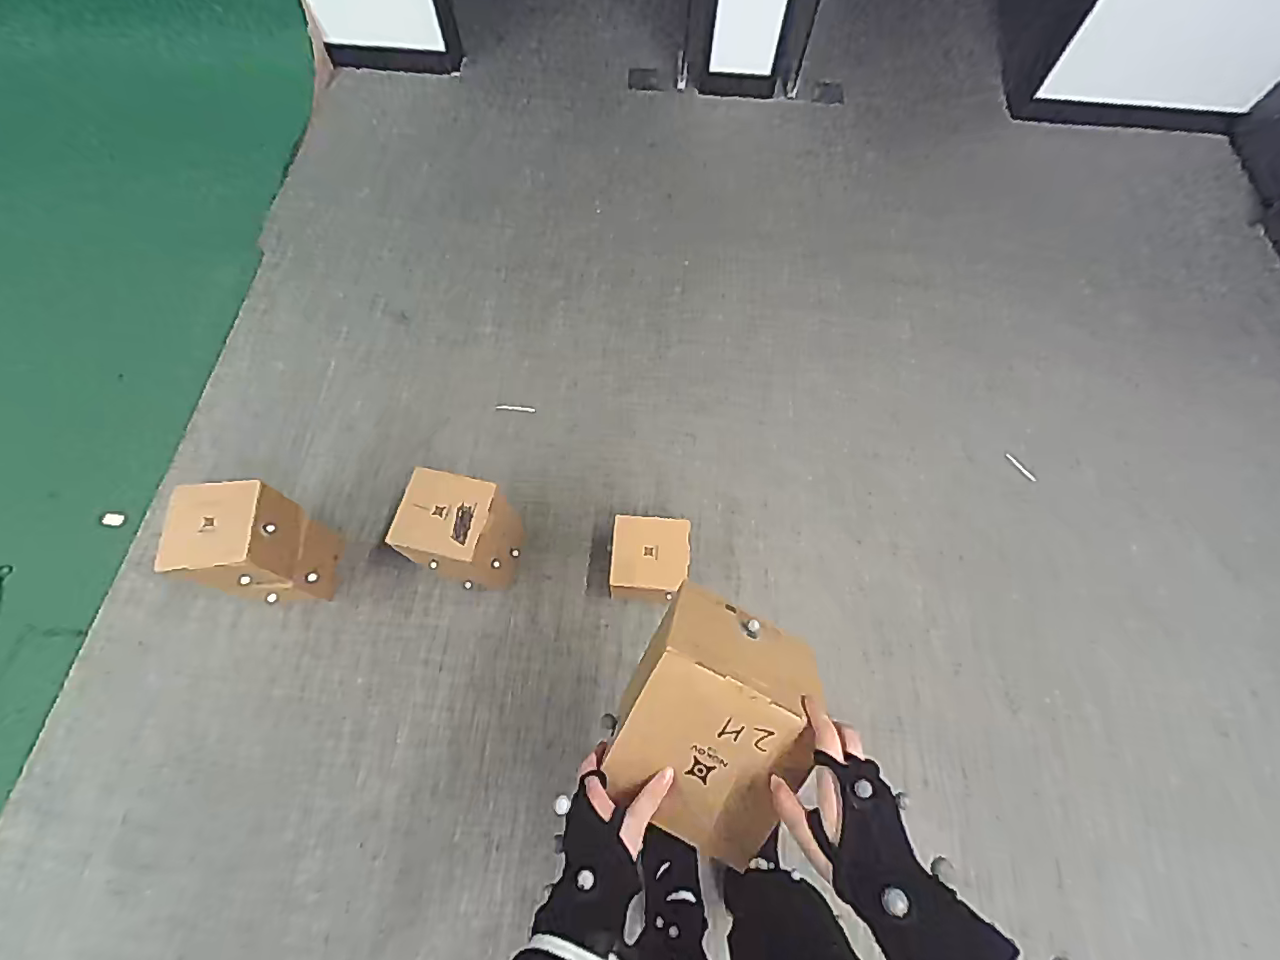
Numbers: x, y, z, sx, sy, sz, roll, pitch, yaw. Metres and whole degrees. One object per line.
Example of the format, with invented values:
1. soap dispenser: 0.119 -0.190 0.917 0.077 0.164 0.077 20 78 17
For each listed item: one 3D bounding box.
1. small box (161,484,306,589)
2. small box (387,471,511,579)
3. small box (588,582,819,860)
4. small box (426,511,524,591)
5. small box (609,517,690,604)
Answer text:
1. small box: -0.825 0.124 1.119 0.168 0.176 0.179 -4 67 -4
2. small box: -0.387 0.102 1.138 0.179 0.176 0.168 12 67 5
3. small box: 0.069 0.242 0.584 0.168 0.176 0.179 26 104 4
4. small box: -0.390 0.159 1.293 0.179 0.176 0.168 12 67 3
5. small box: 0.021 0.197 1.290 0.179 0.176 0.168 4 67 -1
